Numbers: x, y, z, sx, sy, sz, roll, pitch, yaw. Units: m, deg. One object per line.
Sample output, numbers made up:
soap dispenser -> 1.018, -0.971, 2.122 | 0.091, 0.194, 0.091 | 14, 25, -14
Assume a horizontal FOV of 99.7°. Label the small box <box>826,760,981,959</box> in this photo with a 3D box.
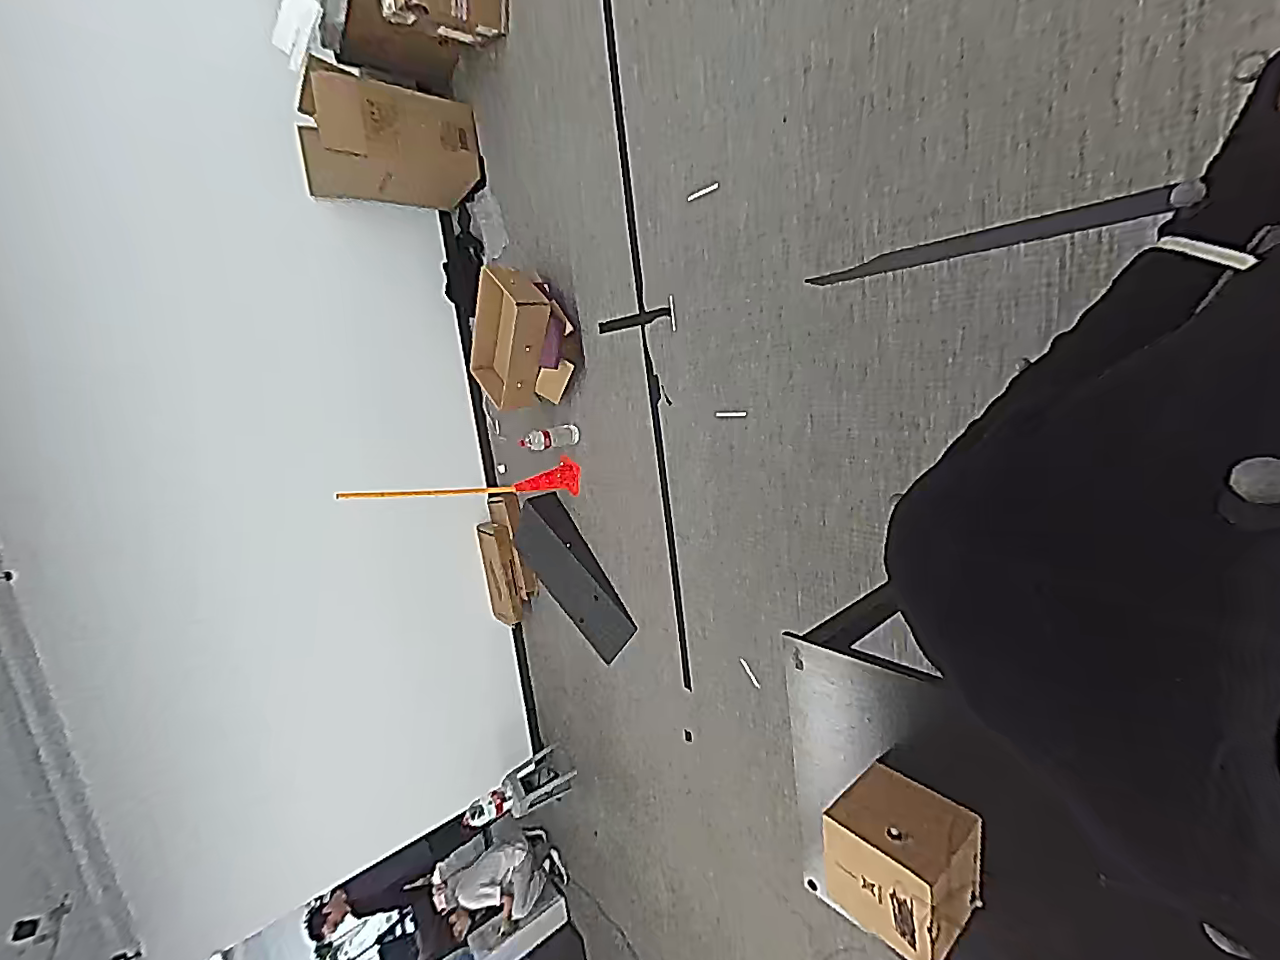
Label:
small box -> 0.428, 0.598, 0.878 | 0.179, 0.176, 0.168 | 10, 110, 52
